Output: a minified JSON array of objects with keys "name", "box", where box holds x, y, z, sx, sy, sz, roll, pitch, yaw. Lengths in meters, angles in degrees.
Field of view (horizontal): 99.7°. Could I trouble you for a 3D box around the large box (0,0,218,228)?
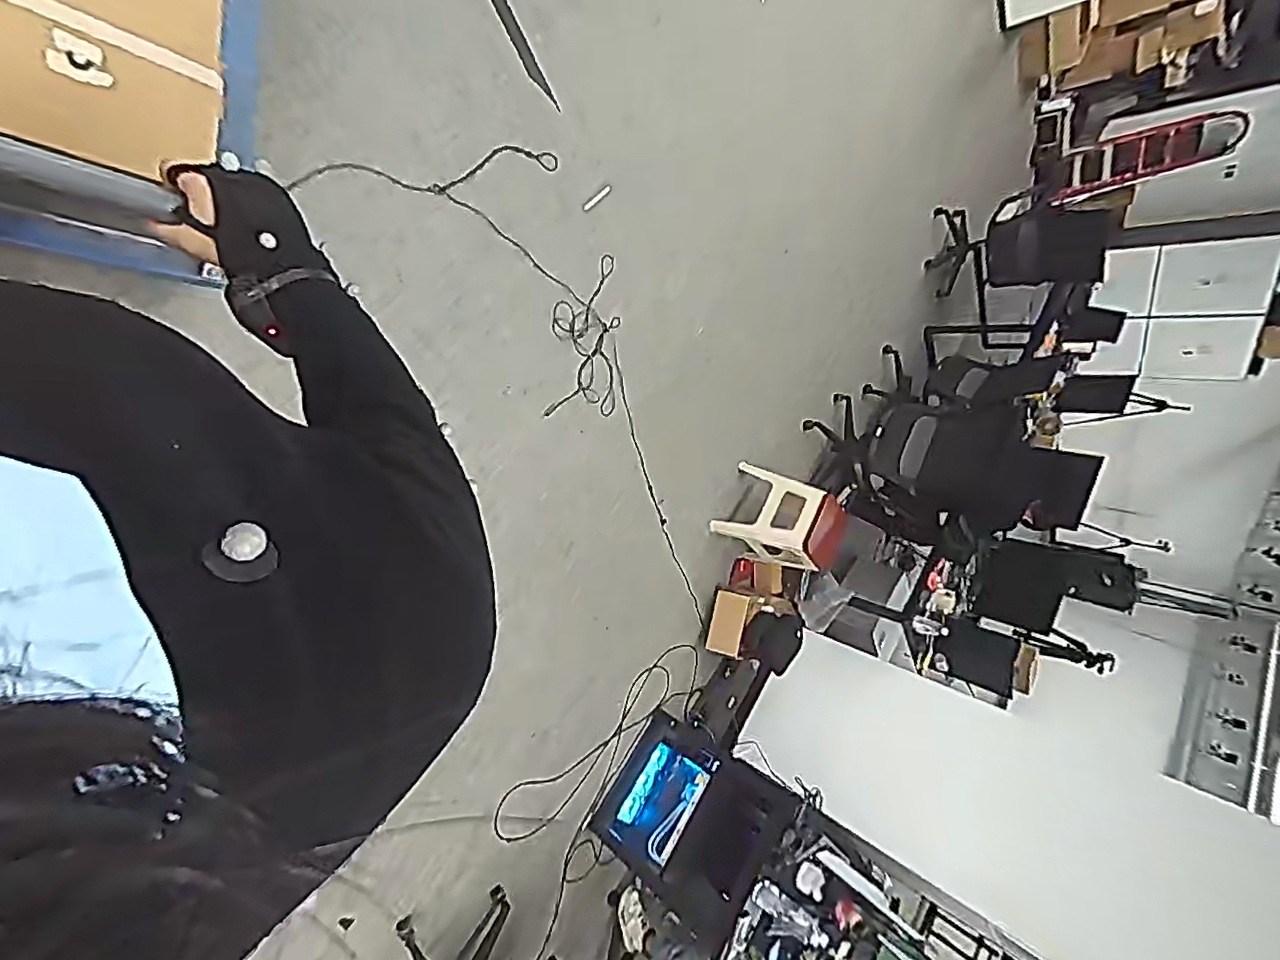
[{"name":"large box","box":[-0.847,-0.581,0.720,0.408,0.320,0.320,1,99,-47]}]
